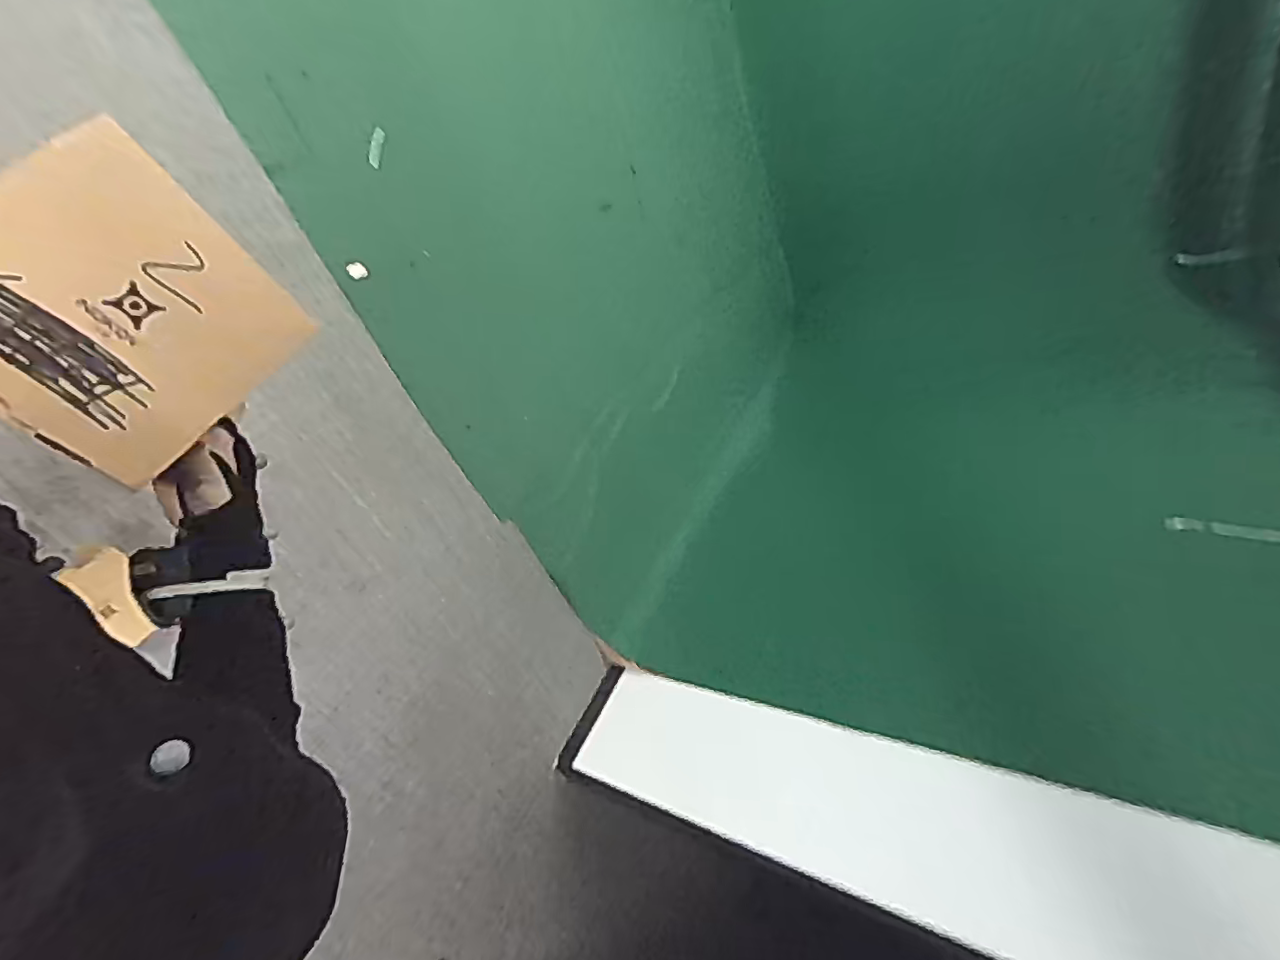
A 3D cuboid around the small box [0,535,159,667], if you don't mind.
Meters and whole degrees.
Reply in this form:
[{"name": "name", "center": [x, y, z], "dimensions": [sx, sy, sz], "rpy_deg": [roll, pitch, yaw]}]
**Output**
[{"name": "small box", "center": [-1.089, 0.220, 1.029], "dimensions": [0.168, 0.176, 0.179], "rpy_deg": [-54, 132, -40]}]
